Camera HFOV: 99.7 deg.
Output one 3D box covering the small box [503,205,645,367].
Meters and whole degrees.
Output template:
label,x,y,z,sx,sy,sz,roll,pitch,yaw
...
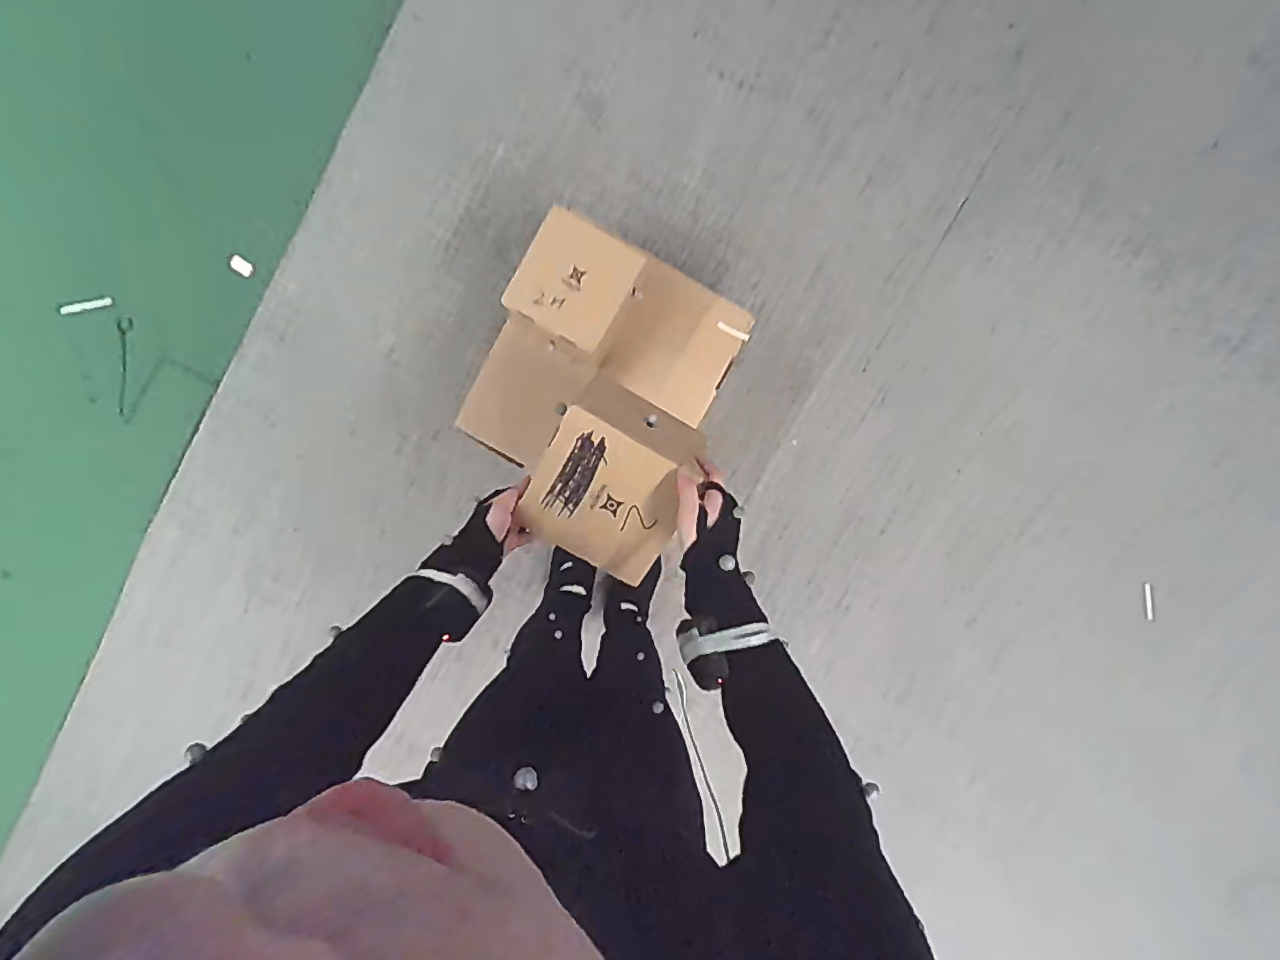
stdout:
label,x,y,z,sx,sy,sz,roll,pitch,yaw
small box,-0.108,-0.315,0.918,0.168,0.176,0.179,29,91,-4
